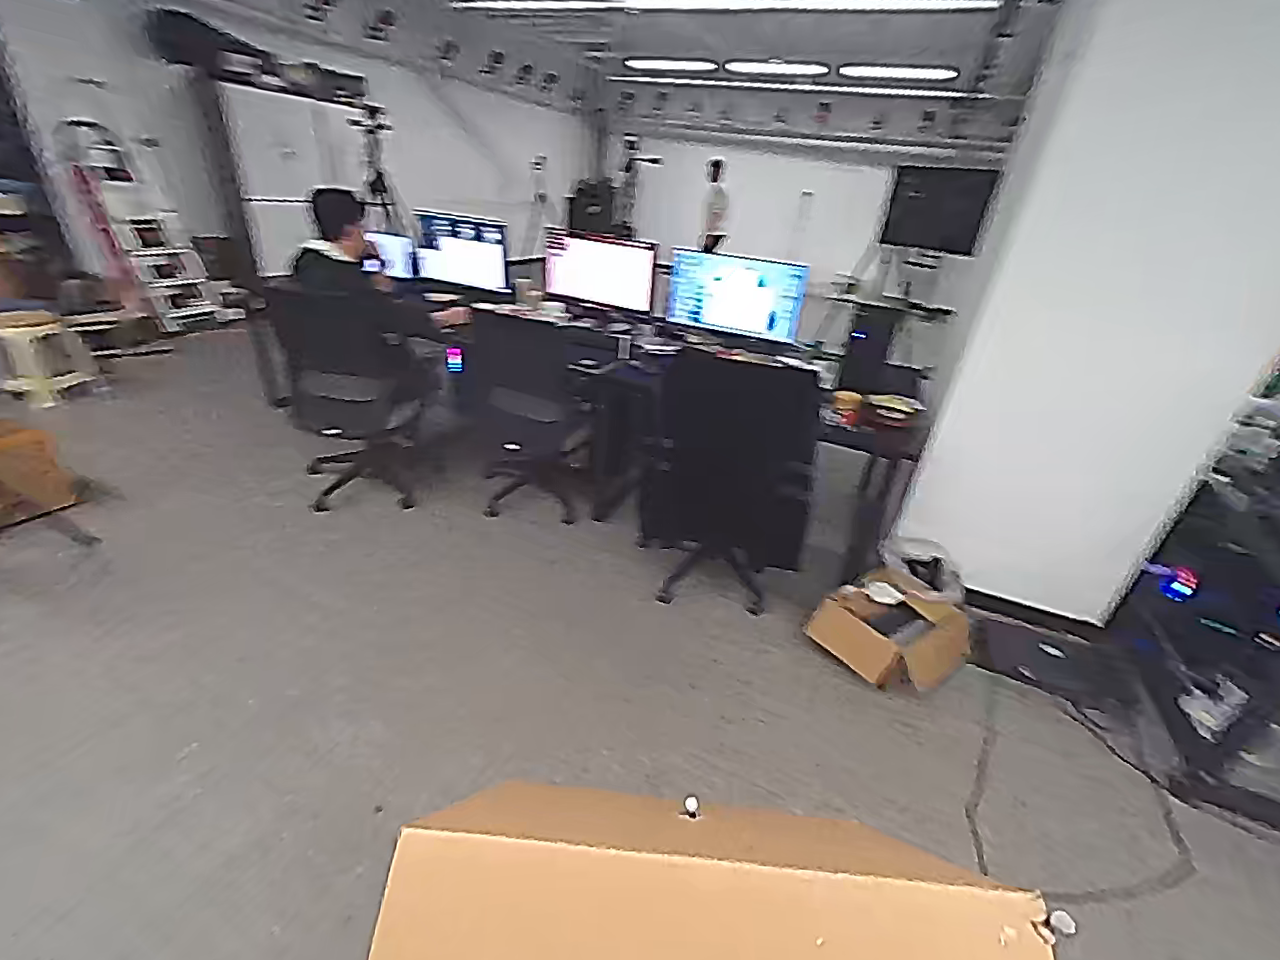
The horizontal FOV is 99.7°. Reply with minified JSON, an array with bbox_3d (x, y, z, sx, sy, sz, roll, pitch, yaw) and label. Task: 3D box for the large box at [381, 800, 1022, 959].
[{"bbox_3d":[0.028,0.452,0.424,0.408,0.320,0.320,4,67,0],"label":"large box"}]
